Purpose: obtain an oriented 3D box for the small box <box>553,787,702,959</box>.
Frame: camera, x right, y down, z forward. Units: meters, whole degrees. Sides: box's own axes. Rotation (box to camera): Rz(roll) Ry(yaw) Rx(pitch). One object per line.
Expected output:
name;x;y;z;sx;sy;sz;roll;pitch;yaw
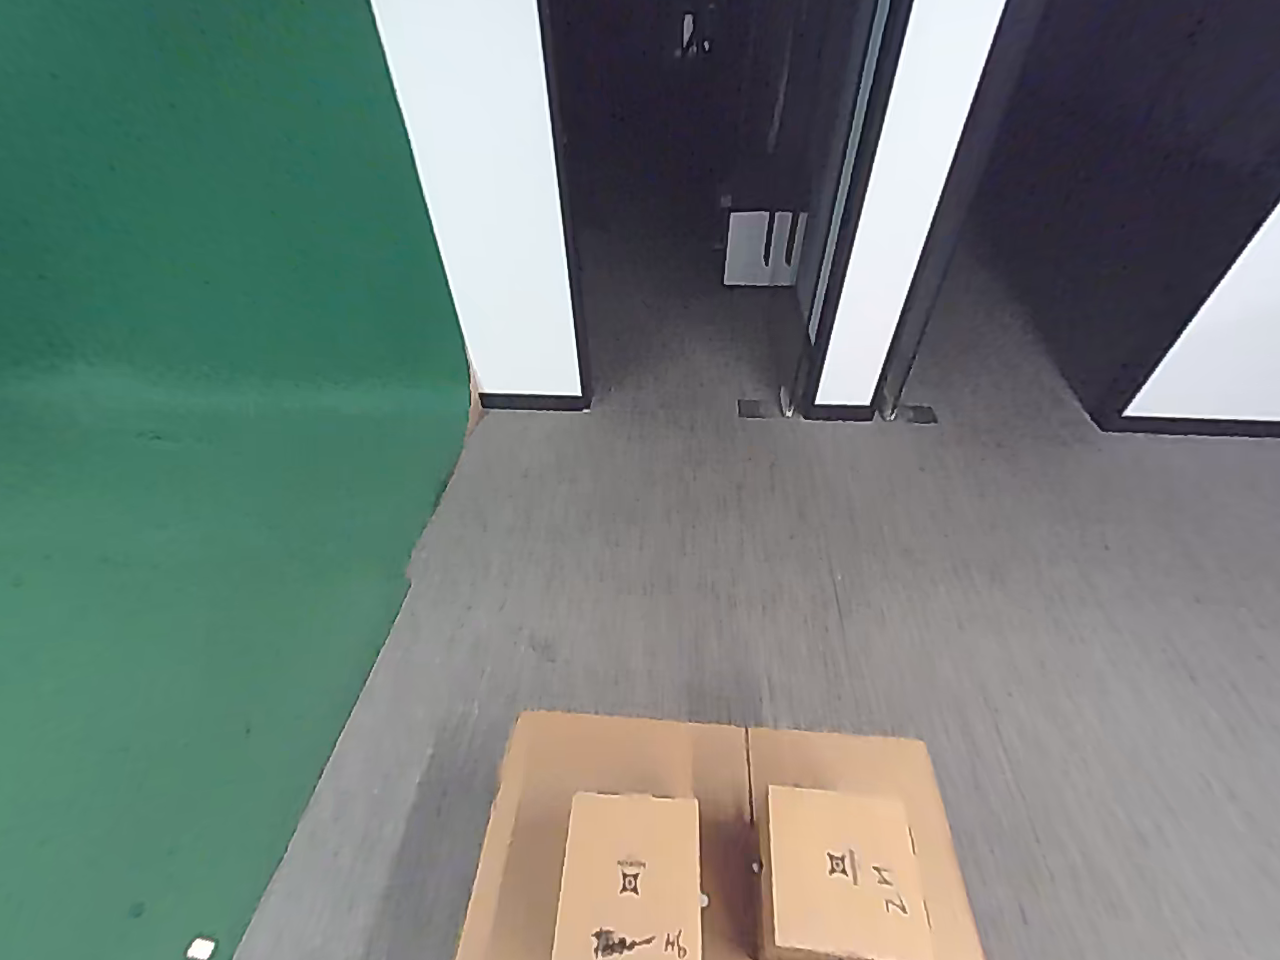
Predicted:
small box;-0.006;0.524;0.697;0.168;0.176;0.179;0;42;5
